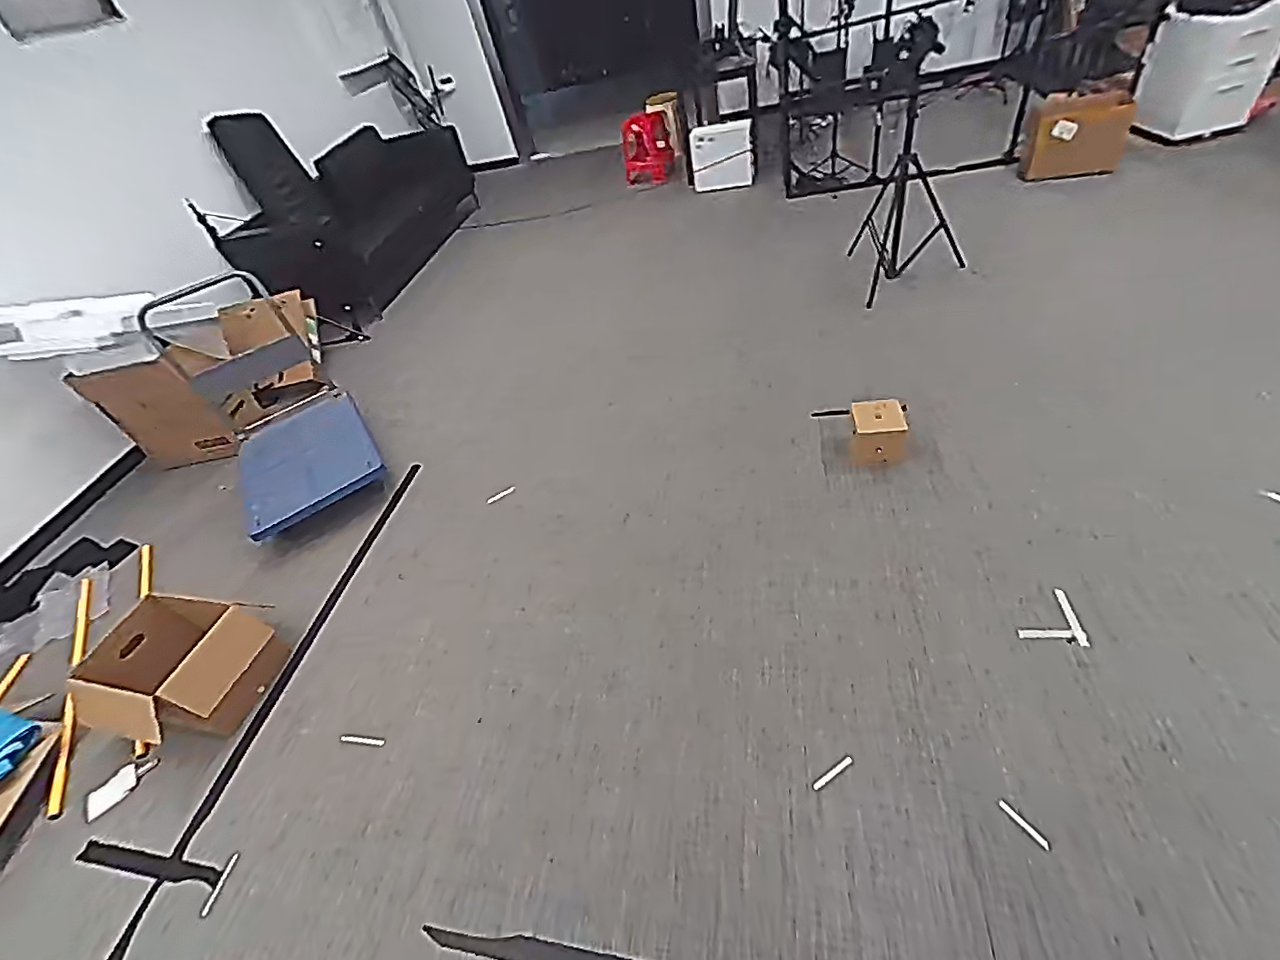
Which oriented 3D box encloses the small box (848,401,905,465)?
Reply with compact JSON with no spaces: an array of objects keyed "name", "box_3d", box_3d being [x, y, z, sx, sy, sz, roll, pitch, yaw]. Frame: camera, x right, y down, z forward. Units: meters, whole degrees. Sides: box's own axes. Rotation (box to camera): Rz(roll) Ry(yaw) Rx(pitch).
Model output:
[{"name":"small box","box_3d":[0.868,-0.168,1.996,0.168,0.176,0.179,-3,45,13]}]
